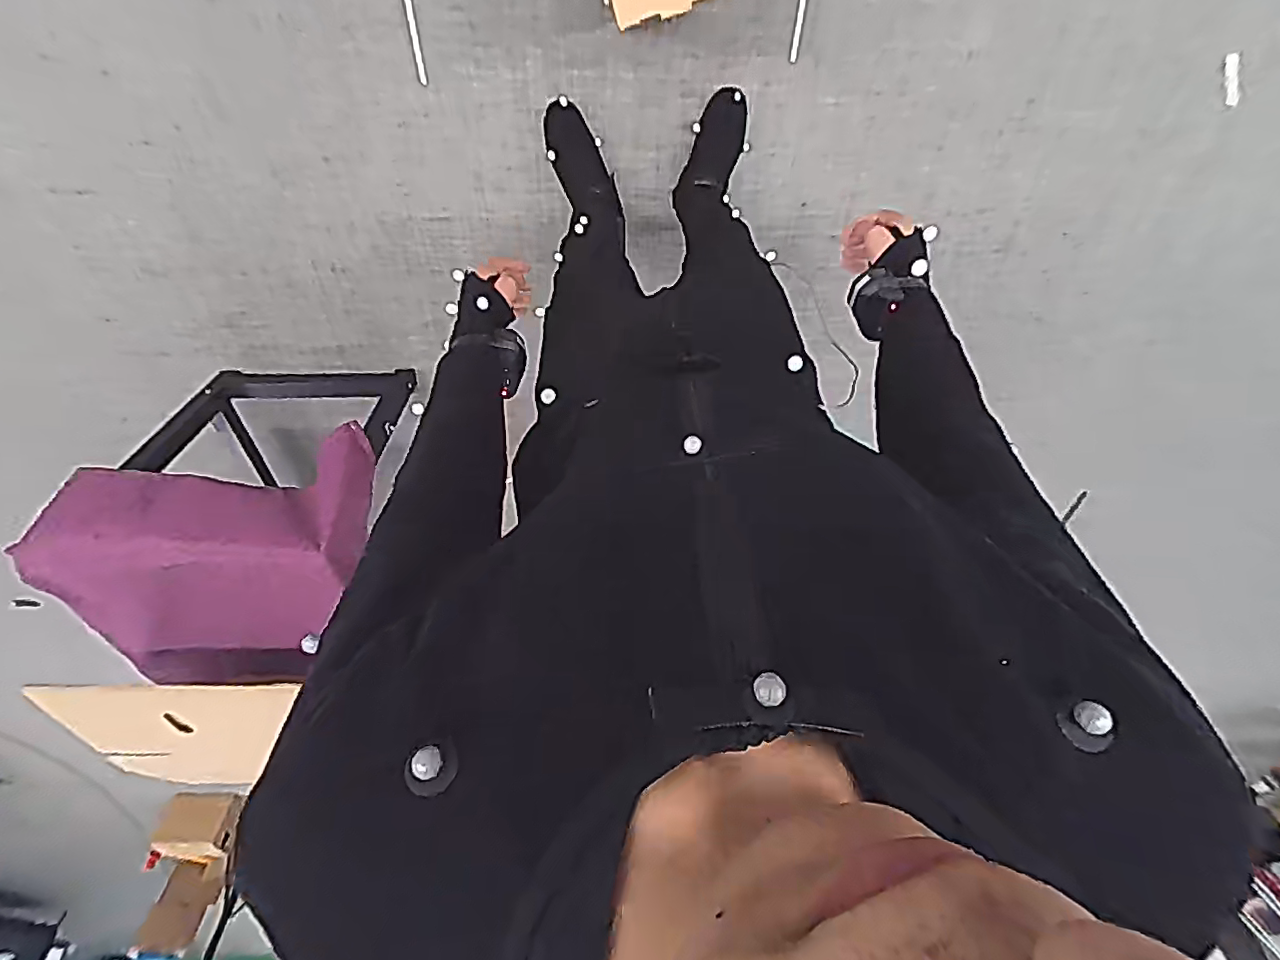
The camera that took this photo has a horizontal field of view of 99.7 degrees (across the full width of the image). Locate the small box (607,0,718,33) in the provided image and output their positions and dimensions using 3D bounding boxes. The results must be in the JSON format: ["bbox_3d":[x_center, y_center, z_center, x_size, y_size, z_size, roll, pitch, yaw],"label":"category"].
[{"bbox_3d":[0.020,-0.756,0.744,0.168,0.176,0.179,-13,132,8],"label":"small box"}]
